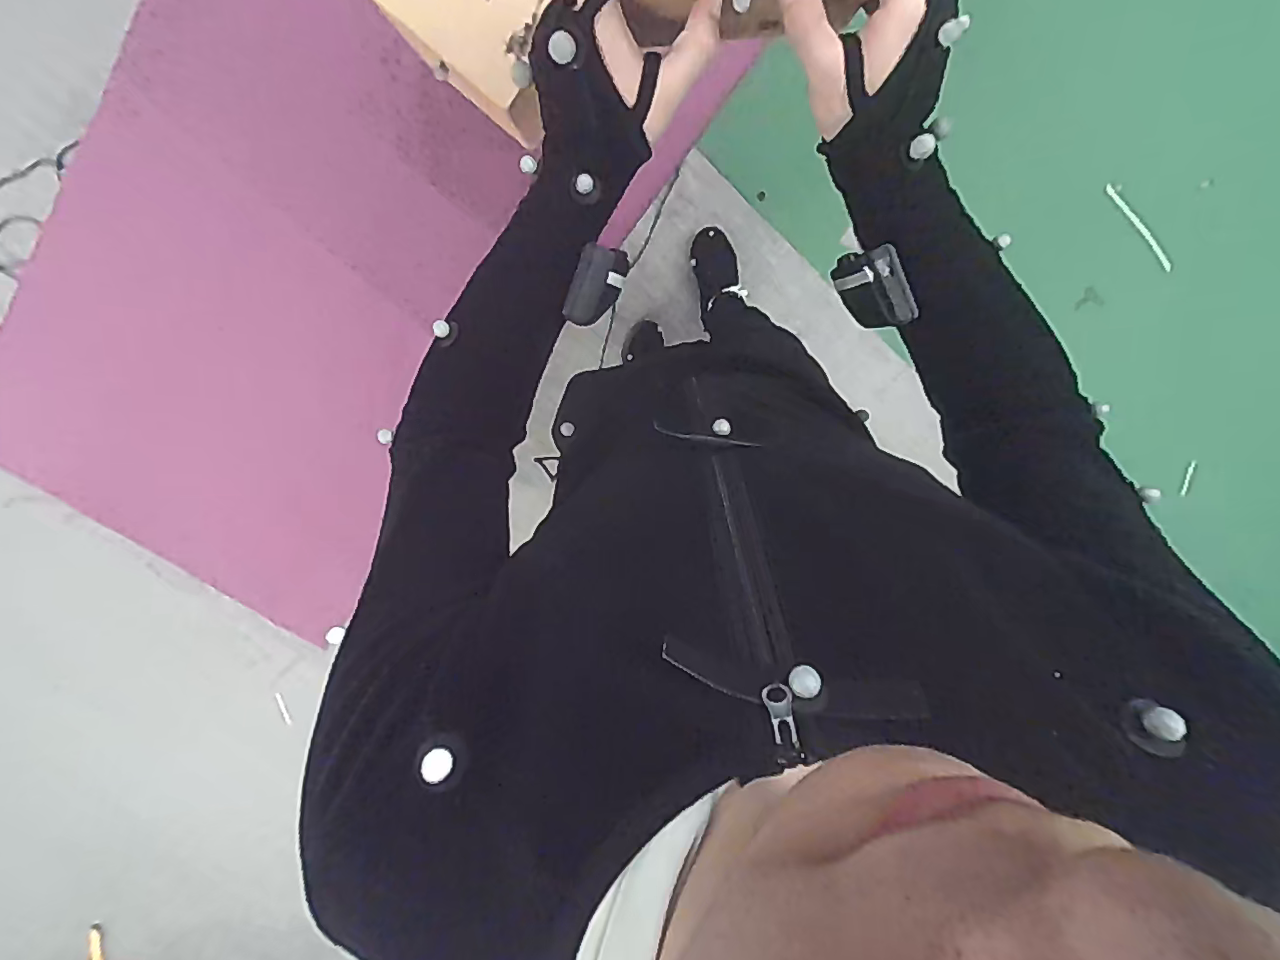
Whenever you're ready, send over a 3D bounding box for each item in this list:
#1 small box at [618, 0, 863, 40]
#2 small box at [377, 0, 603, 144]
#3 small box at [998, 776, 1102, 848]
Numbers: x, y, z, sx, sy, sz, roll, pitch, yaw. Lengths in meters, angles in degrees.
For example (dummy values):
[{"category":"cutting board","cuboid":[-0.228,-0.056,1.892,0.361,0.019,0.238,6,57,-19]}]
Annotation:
[{"category":"small box","cuboid":[0.062,-0.369,0.286,0.168,0.176,0.179,-3,108,2]},{"category":"small box","cuboid":[-0.160,-0.528,0.619,0.179,0.176,0.168,37,105,-11]},{"category":"small box","cuboid":[1.338,1.117,1.779,0.179,0.176,0.168,35,103,-13]}]
